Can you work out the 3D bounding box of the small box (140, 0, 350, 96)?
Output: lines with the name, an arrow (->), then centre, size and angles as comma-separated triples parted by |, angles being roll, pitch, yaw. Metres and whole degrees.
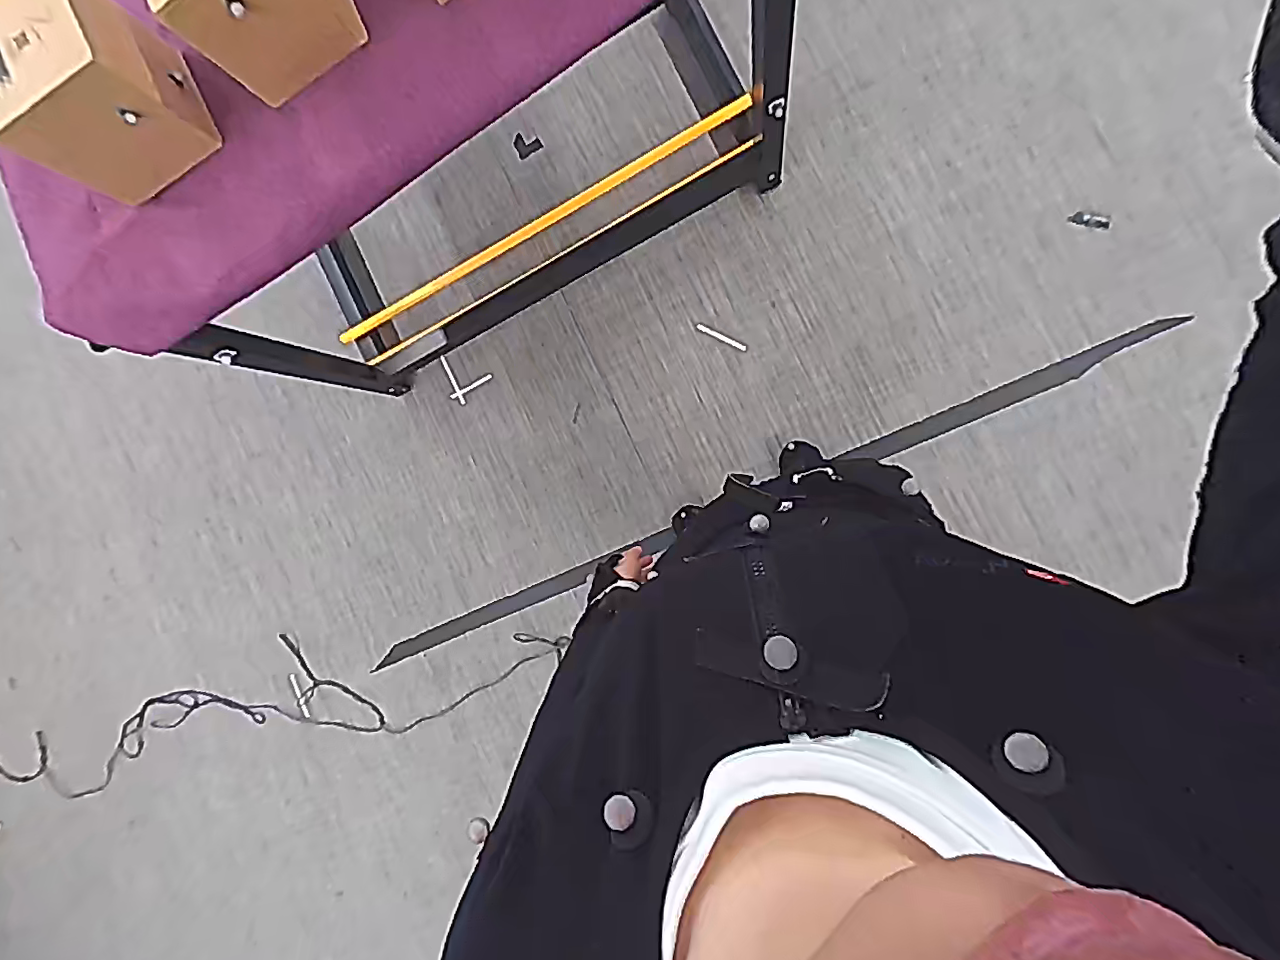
small box -> -0.499, -0.640, 0.672 | 0.179, 0.176, 0.168 | -26, 87, 12
